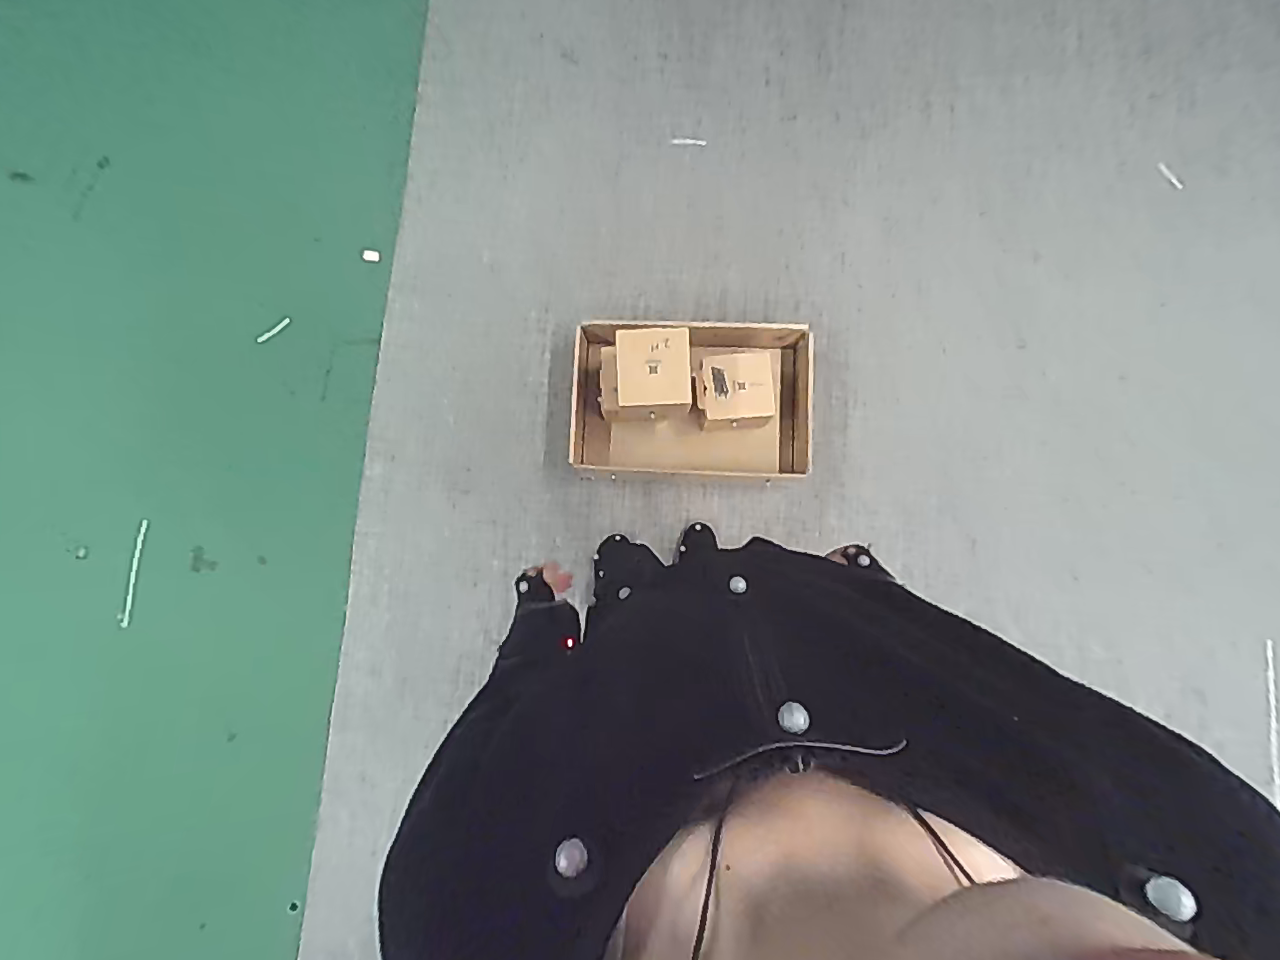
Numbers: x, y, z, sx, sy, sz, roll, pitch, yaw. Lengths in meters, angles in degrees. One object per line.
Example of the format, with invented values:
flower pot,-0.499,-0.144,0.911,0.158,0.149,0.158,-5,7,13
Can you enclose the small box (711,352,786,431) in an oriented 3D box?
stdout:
small box,0.280,-0.227,1.432,0.179,0.176,0.168,-4,84,4

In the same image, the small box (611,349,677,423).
small box,0.018,-0.248,1.453,0.179,0.176,0.168,-1,85,2

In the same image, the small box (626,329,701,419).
small box,0.056,-0.244,1.287,0.168,0.176,0.179,-2,85,2
